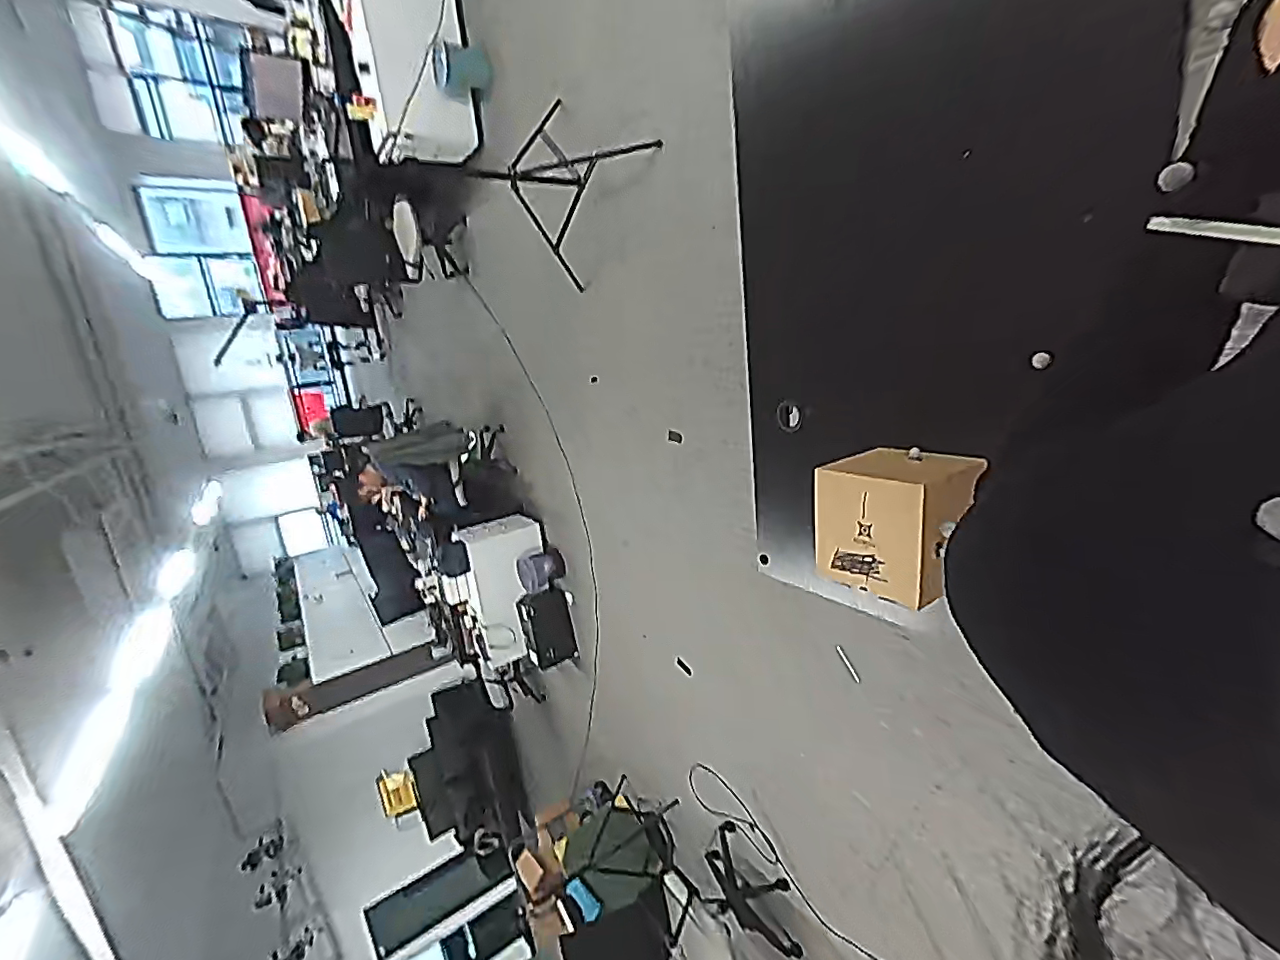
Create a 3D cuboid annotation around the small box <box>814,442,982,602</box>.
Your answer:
[{"bbox_3d":[0.380,0.051,0.803,0.168,0.176,0.179,15,115,54],"label":"small box"}]
